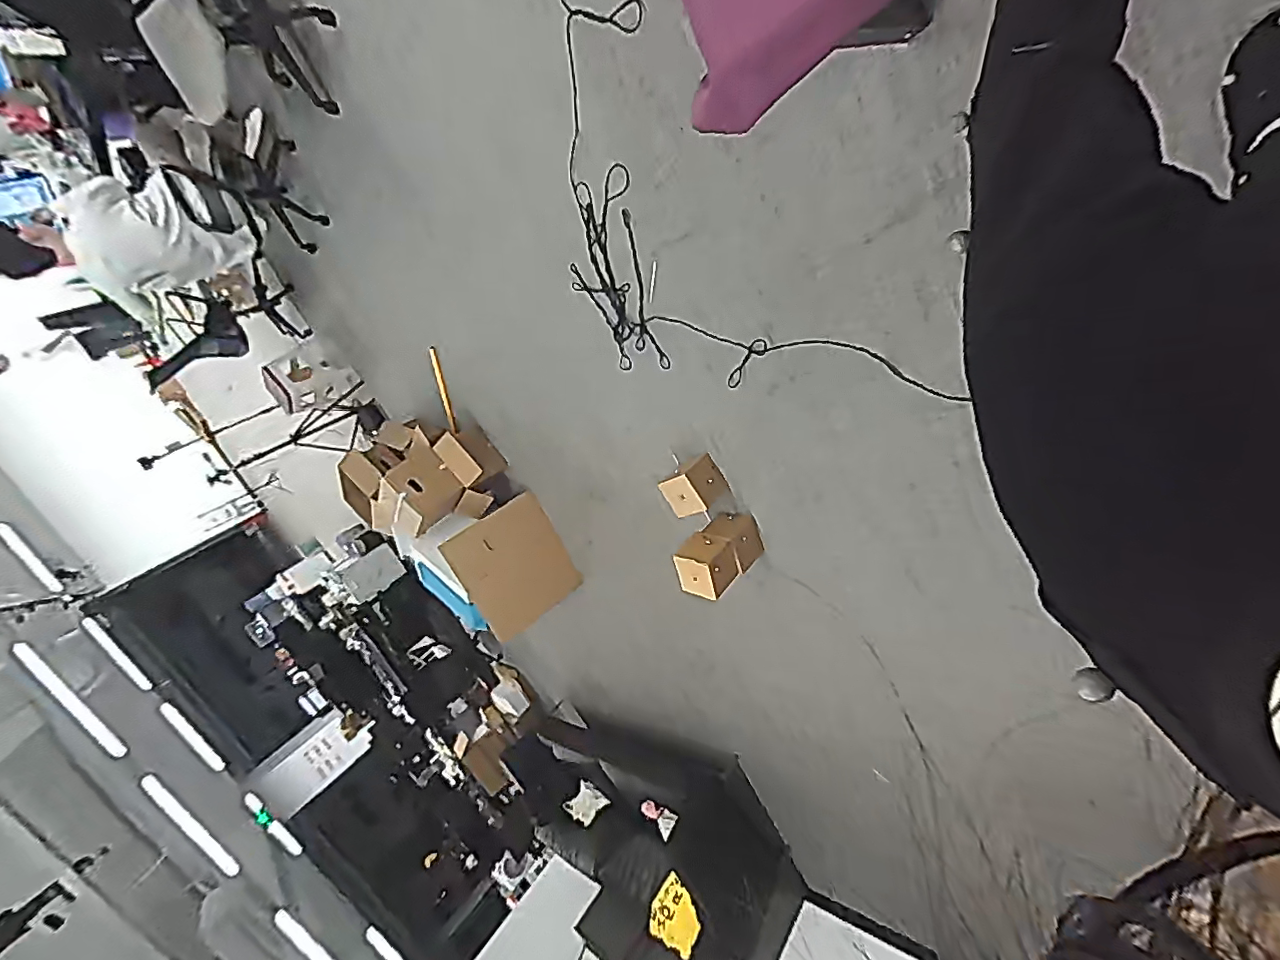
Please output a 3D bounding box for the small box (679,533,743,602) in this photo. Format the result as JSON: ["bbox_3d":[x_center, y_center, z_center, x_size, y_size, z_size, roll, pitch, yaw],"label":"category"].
[{"bbox_3d":[0.278,0.334,2.082,0.168,0.176,0.179,10,126,42],"label":"small box"}]

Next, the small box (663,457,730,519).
[{"bbox_3d":[0.232,0.028,2.135,0.179,0.176,0.168,-23,104,52],"label":"small box"}]
